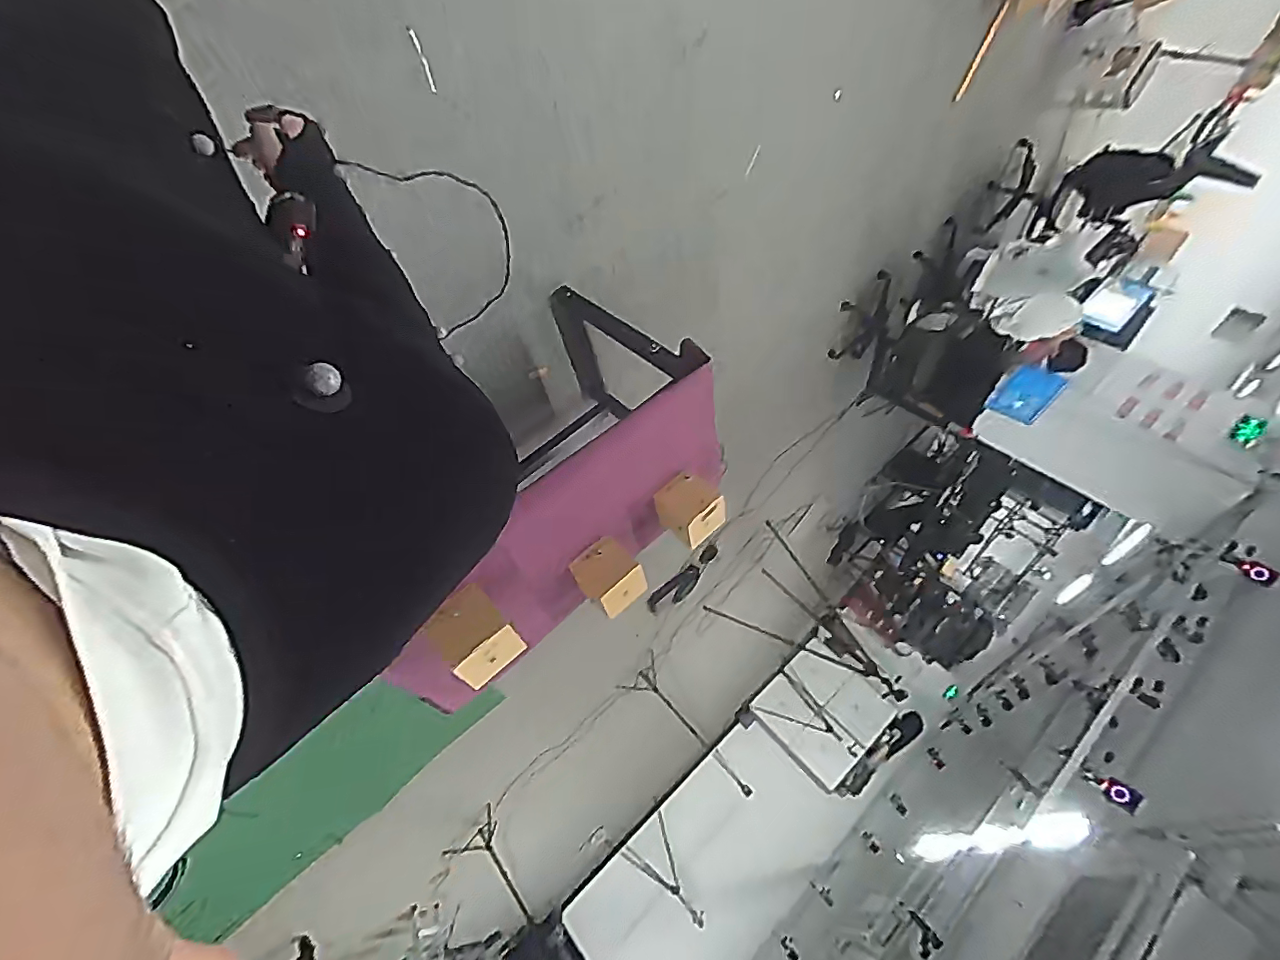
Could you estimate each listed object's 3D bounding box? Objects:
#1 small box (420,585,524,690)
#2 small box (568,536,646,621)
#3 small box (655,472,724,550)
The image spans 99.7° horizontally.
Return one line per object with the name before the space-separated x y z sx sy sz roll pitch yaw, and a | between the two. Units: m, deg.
small box | -0.432 0.404 1.402 0.168 0.176 0.179 -39 148 -19
small box | -0.103 0.309 1.723 0.168 0.176 0.179 -39 146 -18
small box | 0.166 0.098 1.831 0.168 0.176 0.179 -39 147 -17
